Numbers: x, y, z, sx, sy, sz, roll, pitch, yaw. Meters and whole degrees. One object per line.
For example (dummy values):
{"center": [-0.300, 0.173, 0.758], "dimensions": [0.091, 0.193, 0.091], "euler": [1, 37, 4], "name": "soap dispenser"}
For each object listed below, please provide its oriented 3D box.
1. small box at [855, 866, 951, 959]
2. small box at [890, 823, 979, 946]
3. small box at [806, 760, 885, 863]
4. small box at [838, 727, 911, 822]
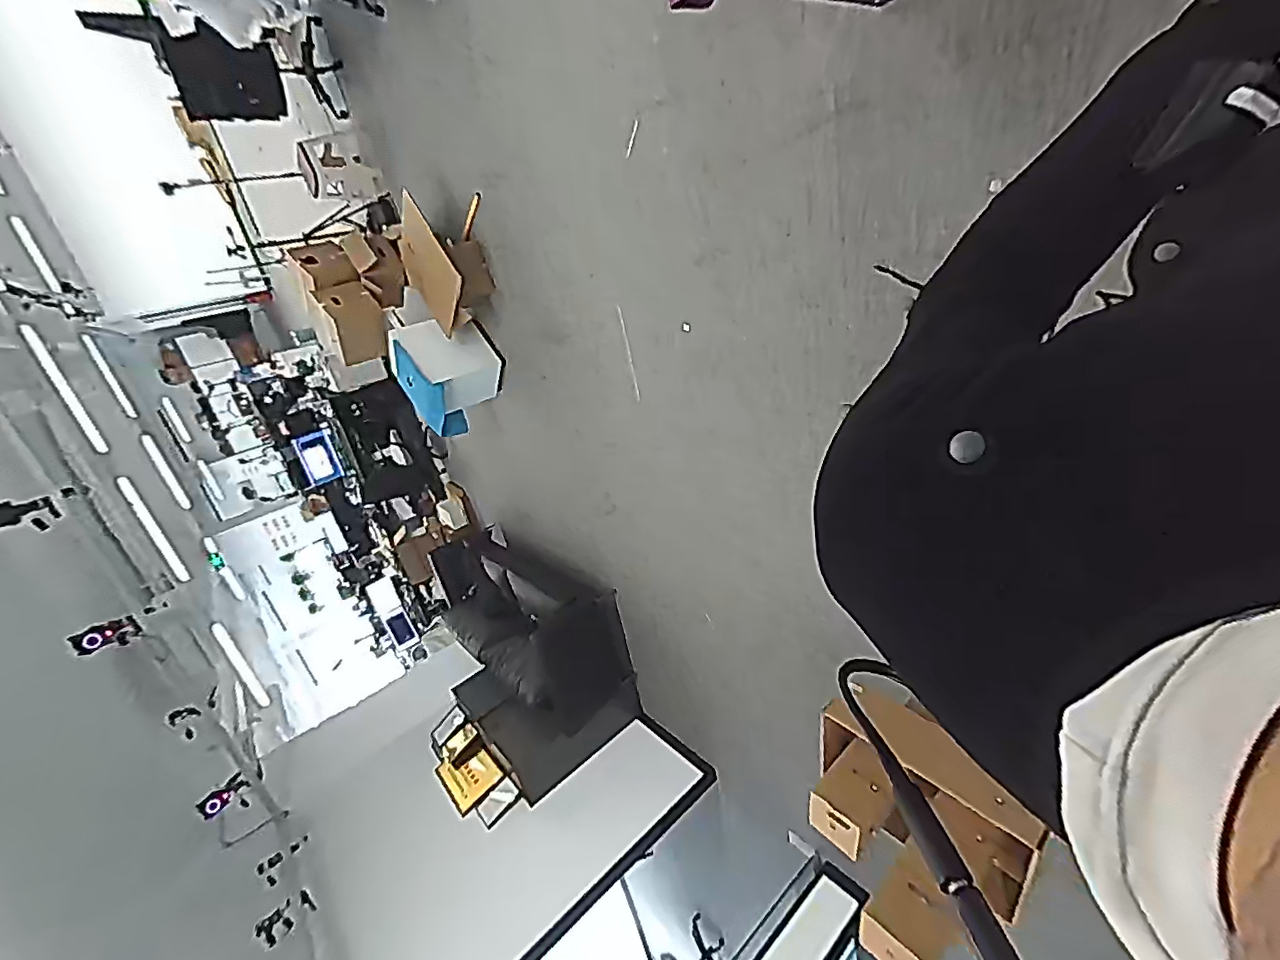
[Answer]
{"center": [0.683, 1.170, 1.407], "dimensions": [0.168, 0.176, 0.179], "euler": [23, 131, 45], "name": "small box"}
{"center": [0.807, 1.107, 1.492], "dimensions": [0.168, 0.176, 0.179], "euler": [22, 130, 46], "name": "small box"}
{"center": [0.636, 1.018, 1.675], "dimensions": [0.168, 0.176, 0.179], "euler": [25, 132, 45], "name": "small box"}
{"center": [0.761, 0.954, 1.761], "dimensions": [0.168, 0.176, 0.179], "euler": [24, 130, 45], "name": "small box"}
